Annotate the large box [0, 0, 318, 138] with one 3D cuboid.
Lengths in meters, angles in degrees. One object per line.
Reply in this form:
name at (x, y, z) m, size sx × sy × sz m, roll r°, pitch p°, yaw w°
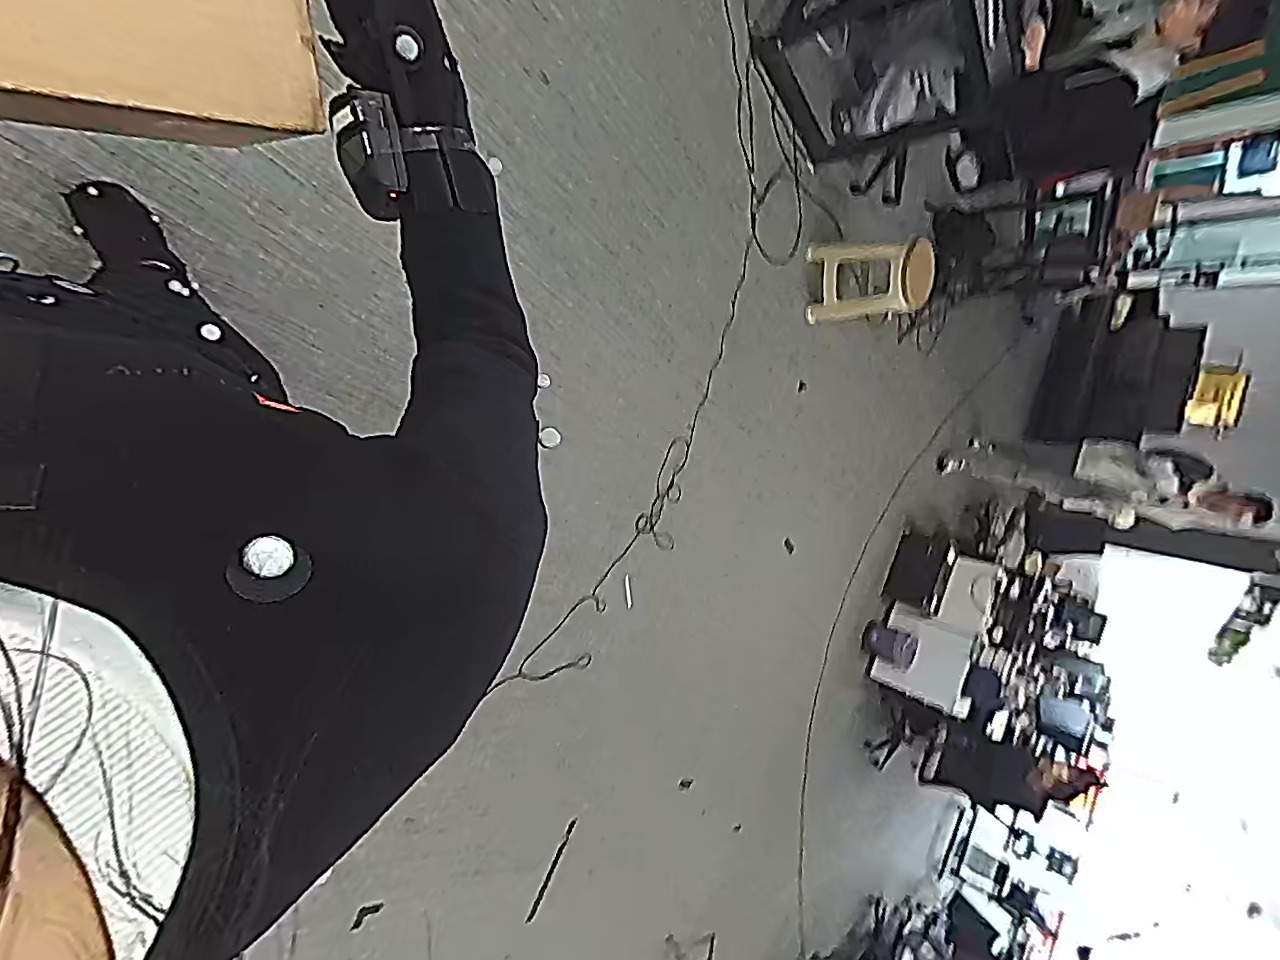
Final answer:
large box at (-0.456, -0.378, 0.271) m, size 0.408 × 0.320 × 0.320 m, roll -20°, pitch 126°, yaw -39°
